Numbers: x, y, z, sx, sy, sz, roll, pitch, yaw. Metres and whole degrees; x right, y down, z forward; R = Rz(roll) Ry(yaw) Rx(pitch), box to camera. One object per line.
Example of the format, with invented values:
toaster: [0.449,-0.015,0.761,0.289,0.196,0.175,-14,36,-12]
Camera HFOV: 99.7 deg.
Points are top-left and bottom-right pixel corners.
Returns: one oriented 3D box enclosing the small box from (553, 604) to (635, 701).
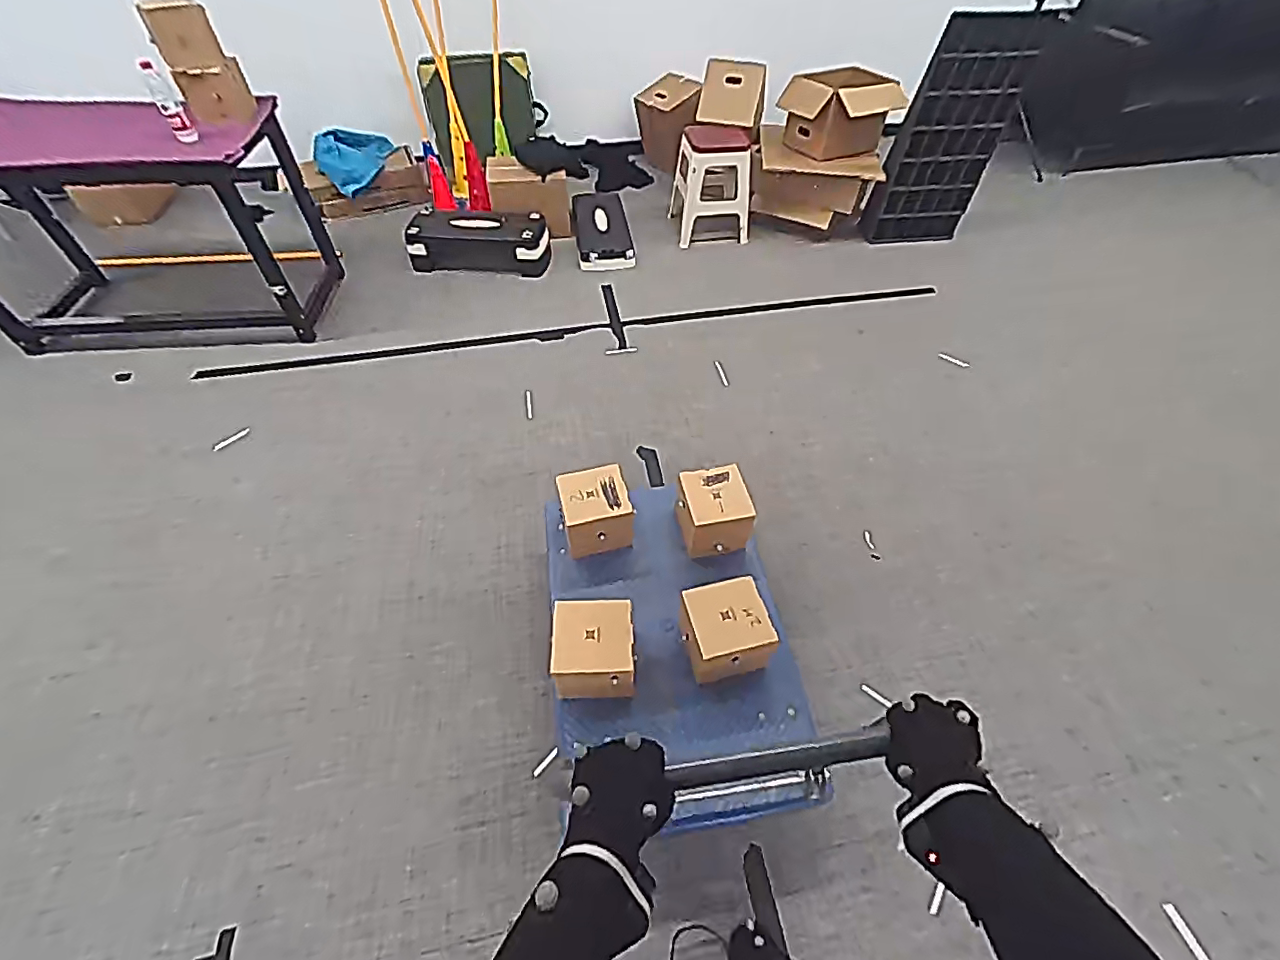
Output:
small box: [-0.101,0.398,1.240,0.179,0.176,0.168,0,51,-4]

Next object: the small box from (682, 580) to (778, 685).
small box: [0.201,0.363,1.271,0.179,0.176,0.168,-11,53,-9]

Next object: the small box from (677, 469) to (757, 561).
small box: [0.203,0.097,1.483,0.168,0.176,0.179,-9,53,-8]
